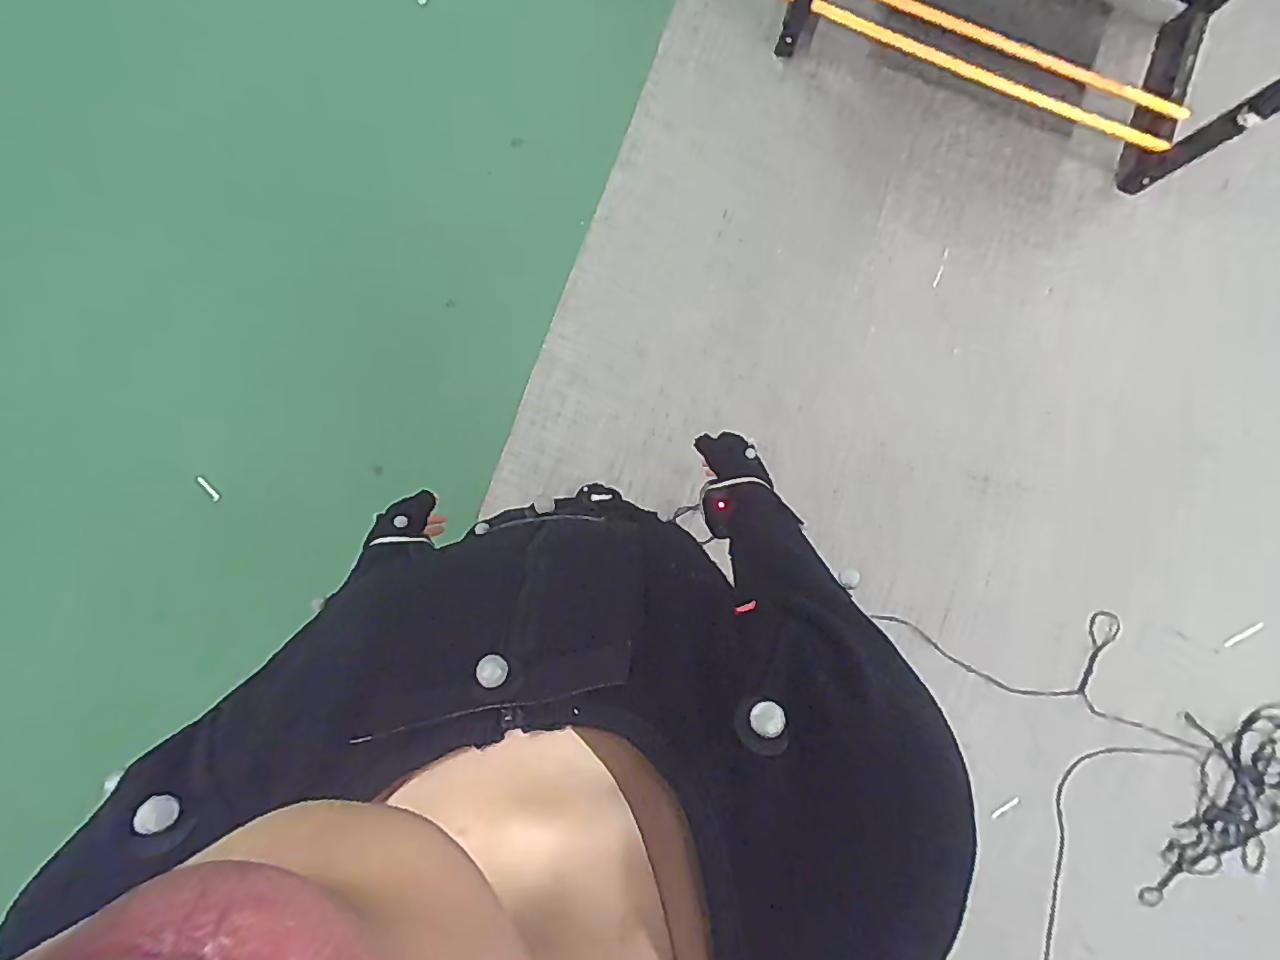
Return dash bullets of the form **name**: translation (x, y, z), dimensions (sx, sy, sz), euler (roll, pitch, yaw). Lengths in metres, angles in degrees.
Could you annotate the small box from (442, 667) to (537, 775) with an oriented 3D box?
- **small box**: translation (-0.370, 0.597, 1.366), dimensions (0.168, 0.176, 0.179), euler (20, 86, -1)
